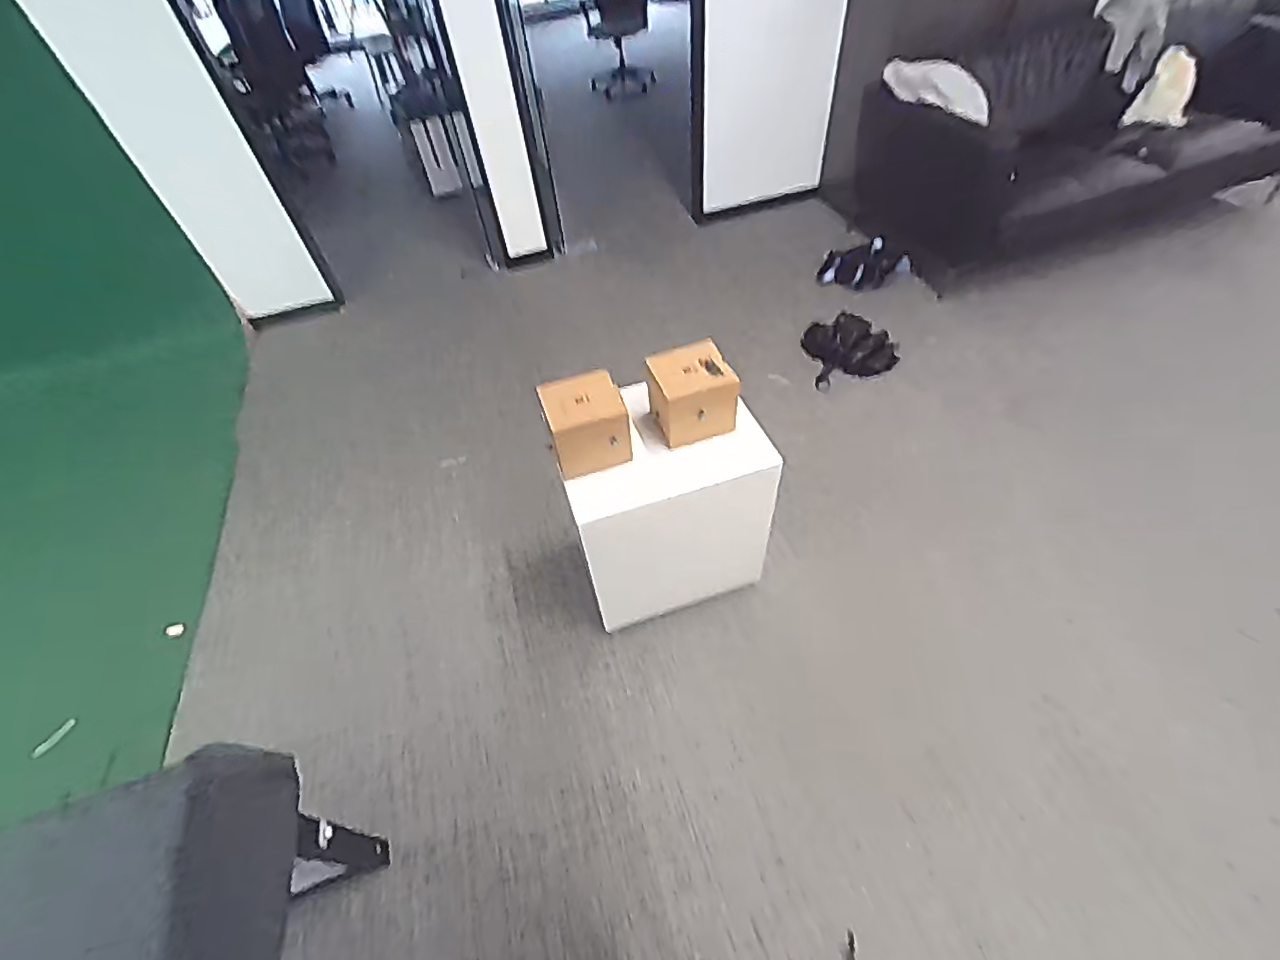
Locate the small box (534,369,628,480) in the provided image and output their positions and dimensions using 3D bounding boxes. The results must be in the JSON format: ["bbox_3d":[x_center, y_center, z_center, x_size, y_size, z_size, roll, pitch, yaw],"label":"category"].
[{"bbox_3d":[-0.133,-0.128,1.266,0.179,0.176,0.168,-17,49,-12],"label":"small box"}]

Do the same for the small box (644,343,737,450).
[{"bbox_3d":[0.118,-0.201,1.314,0.179,0.176,0.168,-16,50,-9],"label":"small box"}]
